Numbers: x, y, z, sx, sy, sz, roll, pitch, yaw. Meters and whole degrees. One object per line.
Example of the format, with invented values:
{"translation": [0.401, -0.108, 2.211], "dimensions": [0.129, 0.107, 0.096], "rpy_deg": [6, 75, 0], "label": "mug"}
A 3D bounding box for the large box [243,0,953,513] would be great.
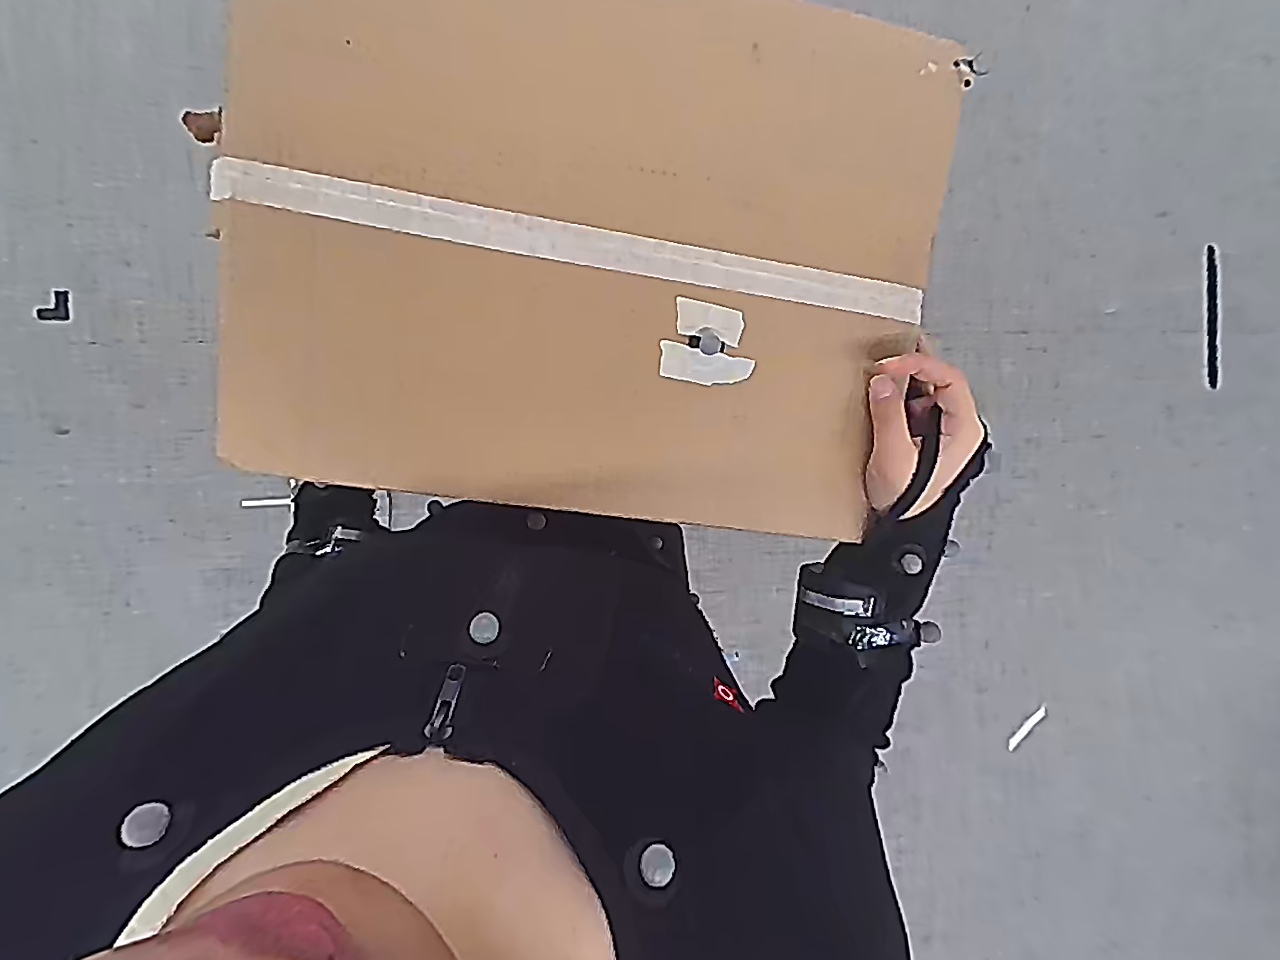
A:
{"translation": [-0.040, -0.168, 0.468], "dimensions": [0.408, 0.320, 0.320], "rpy_deg": [7, 99, -10], "label": "large box"}
